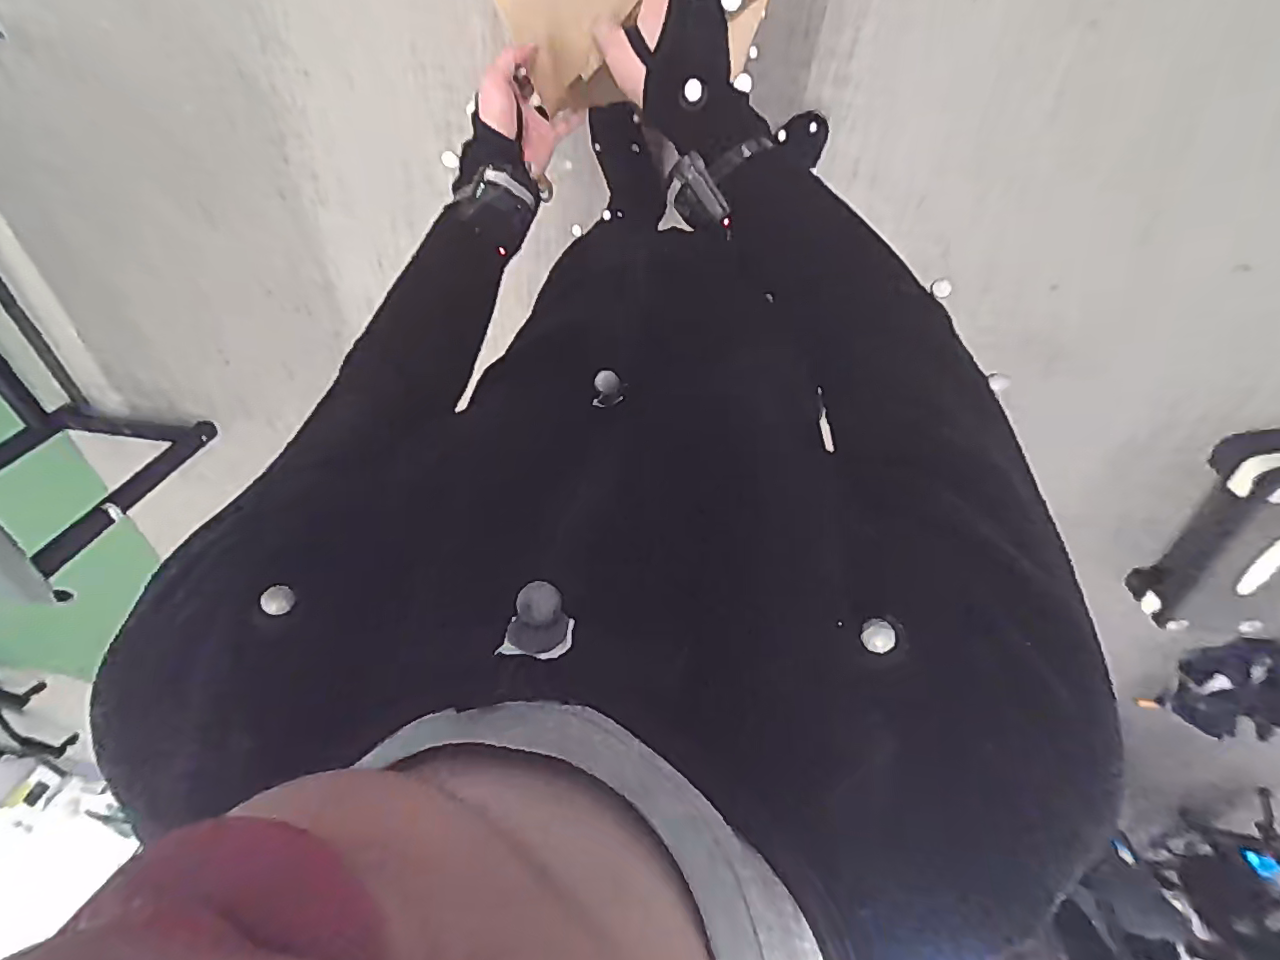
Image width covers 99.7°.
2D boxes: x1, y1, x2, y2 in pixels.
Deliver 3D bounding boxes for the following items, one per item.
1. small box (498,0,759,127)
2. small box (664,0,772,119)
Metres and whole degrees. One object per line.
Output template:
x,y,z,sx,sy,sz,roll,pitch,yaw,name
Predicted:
-0.017,-0.474,0.503,0.168,0.176,0.179,-6,117,50,small box
0.106,-0.745,0.906,0.168,0.176,0.179,19,131,-6,small box
